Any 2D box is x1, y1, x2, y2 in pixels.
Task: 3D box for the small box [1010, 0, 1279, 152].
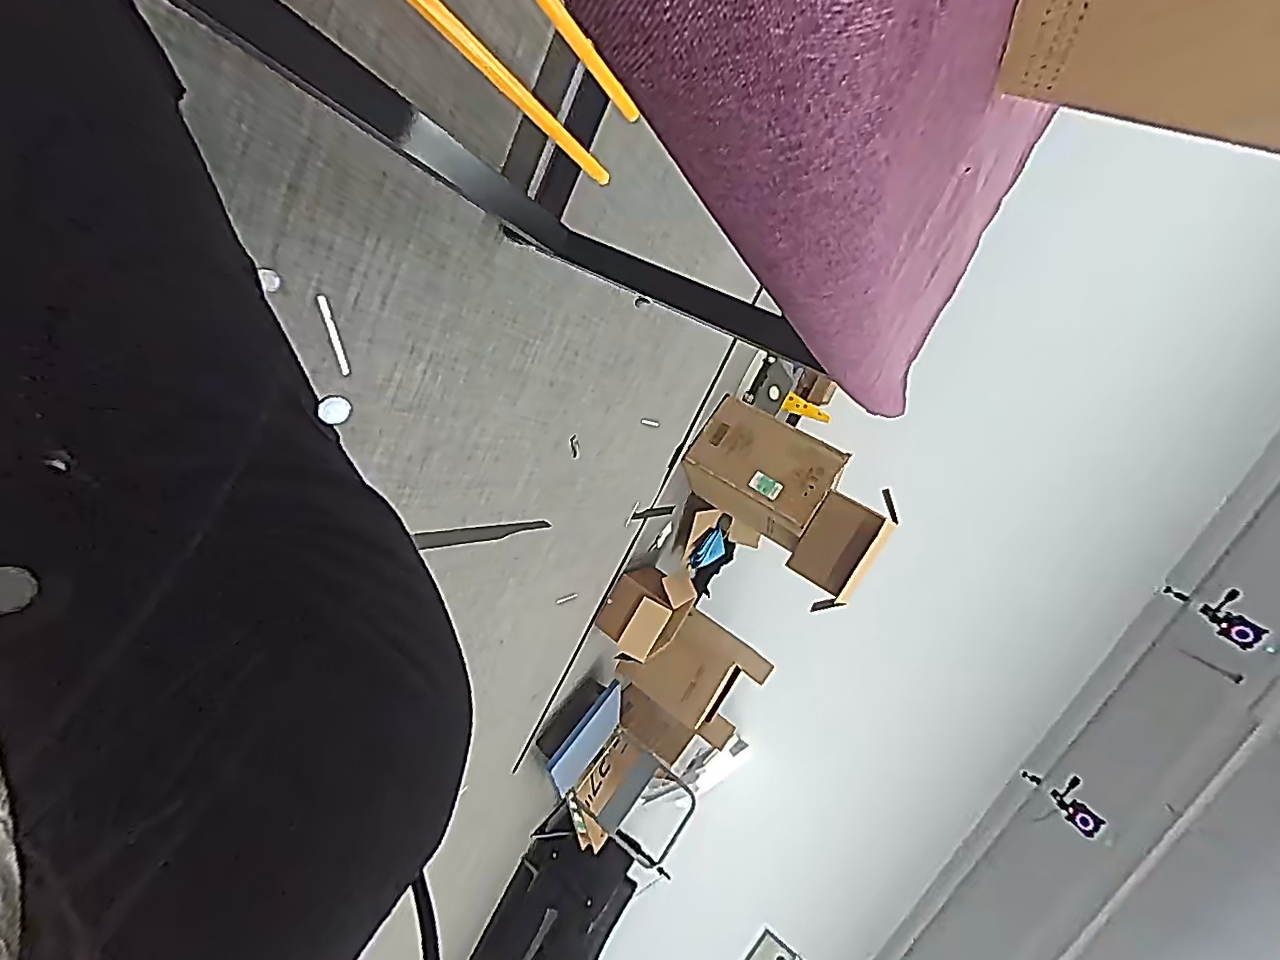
[{"bbox_3d":[0.258,-0.243,0.171,0.168,0.176,0.179,-64,159,11],"label":"small box"}]
